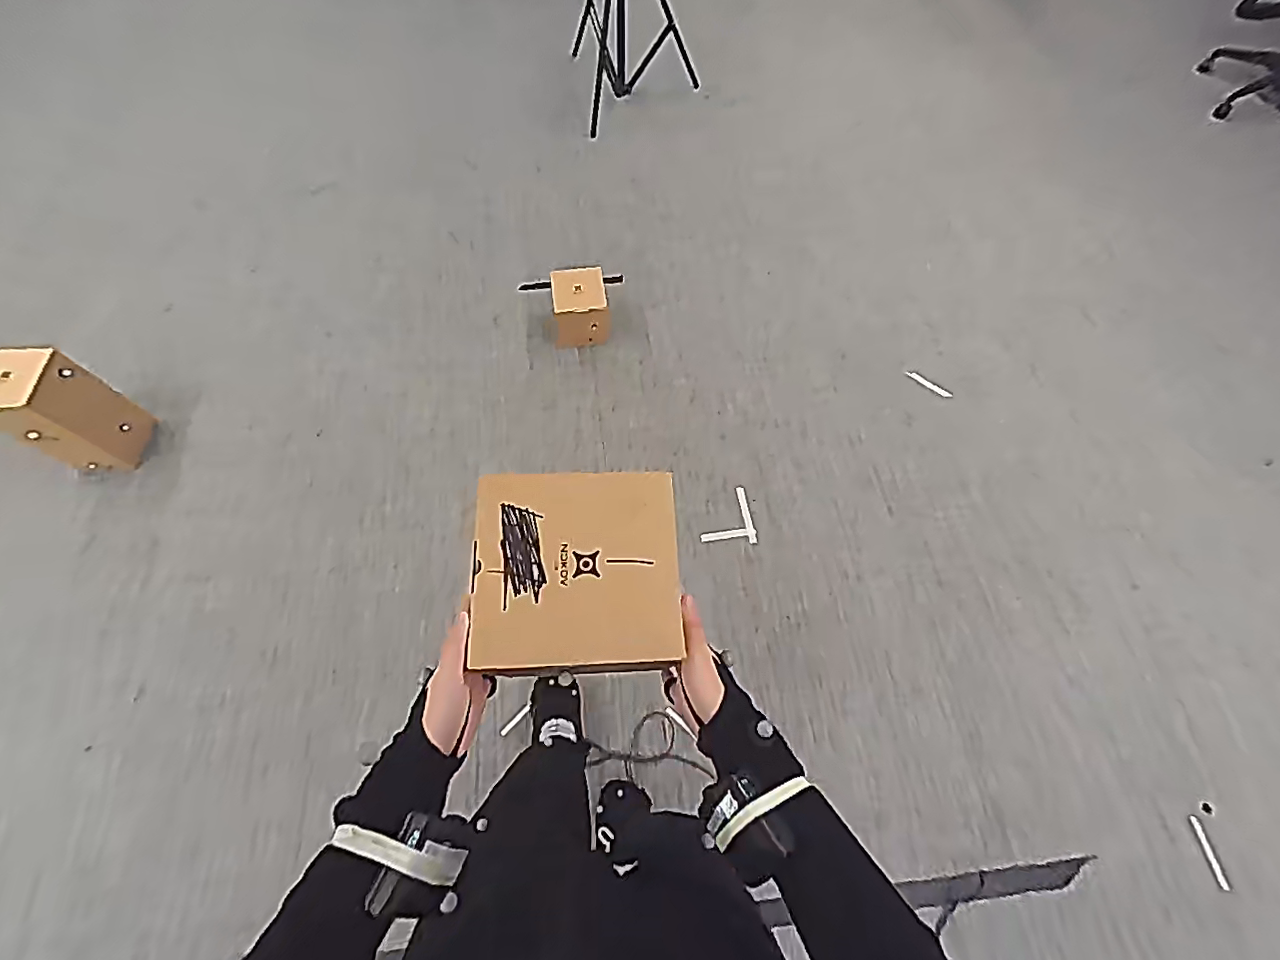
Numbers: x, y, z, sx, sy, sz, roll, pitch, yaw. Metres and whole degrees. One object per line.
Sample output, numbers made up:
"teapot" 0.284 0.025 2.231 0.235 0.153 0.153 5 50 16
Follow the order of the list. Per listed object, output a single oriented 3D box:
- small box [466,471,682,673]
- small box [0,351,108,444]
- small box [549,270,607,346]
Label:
"small box" -0.057 0.099 0.535 0.179 0.176 0.168 -1 69 -3
"small box" -1.524 -0.207 1.374 0.168 0.176 0.179 -2 65 -2
"small box" -0.199 -0.553 1.764 0.168 0.176 0.179 -8 64 -6
